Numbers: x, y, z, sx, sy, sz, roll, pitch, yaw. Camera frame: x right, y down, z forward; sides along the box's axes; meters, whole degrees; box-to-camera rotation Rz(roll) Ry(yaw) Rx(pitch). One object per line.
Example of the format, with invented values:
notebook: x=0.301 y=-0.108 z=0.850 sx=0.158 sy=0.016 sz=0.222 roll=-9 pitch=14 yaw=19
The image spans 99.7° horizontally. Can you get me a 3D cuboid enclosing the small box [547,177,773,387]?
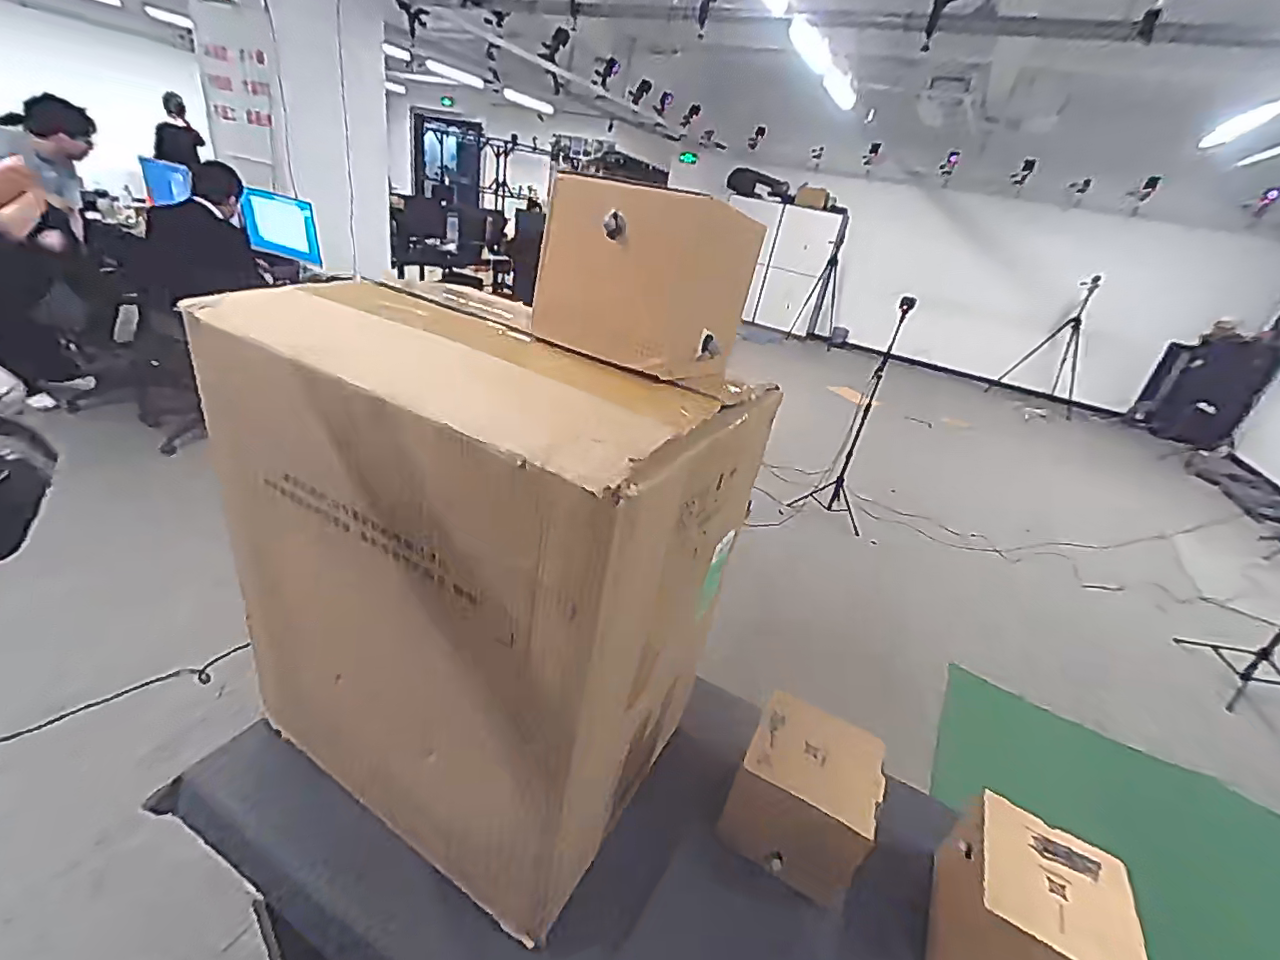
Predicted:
small box: x=0.019 y=-0.210 z=0.597 sx=0.179 sy=0.176 sz=0.168 roll=24 pitch=24 yaw=22

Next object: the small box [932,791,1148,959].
small box: x=0.496 y=0.560 z=0.693 sx=0.168 sy=0.176 sz=0.179 roll=22 pitch=30 yaw=23
